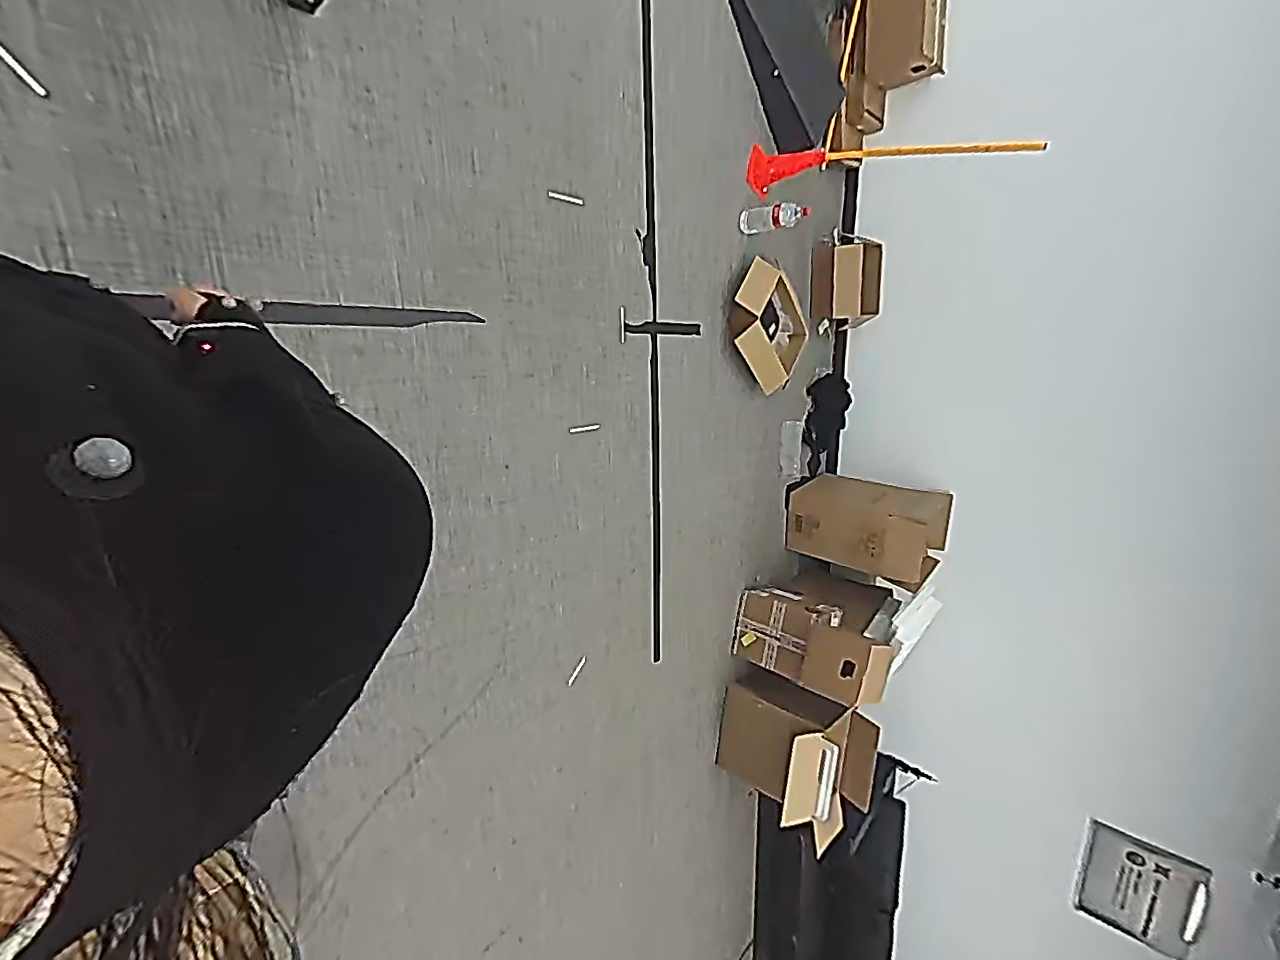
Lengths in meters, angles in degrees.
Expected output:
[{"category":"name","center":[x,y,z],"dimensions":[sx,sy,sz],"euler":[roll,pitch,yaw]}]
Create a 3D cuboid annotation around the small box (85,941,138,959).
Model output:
[{"category":"small box","center":[-1.141,1.134,1.130],"dimensions":[0.168,0.176,0.179],"euler":[-28,119,-43]}]
